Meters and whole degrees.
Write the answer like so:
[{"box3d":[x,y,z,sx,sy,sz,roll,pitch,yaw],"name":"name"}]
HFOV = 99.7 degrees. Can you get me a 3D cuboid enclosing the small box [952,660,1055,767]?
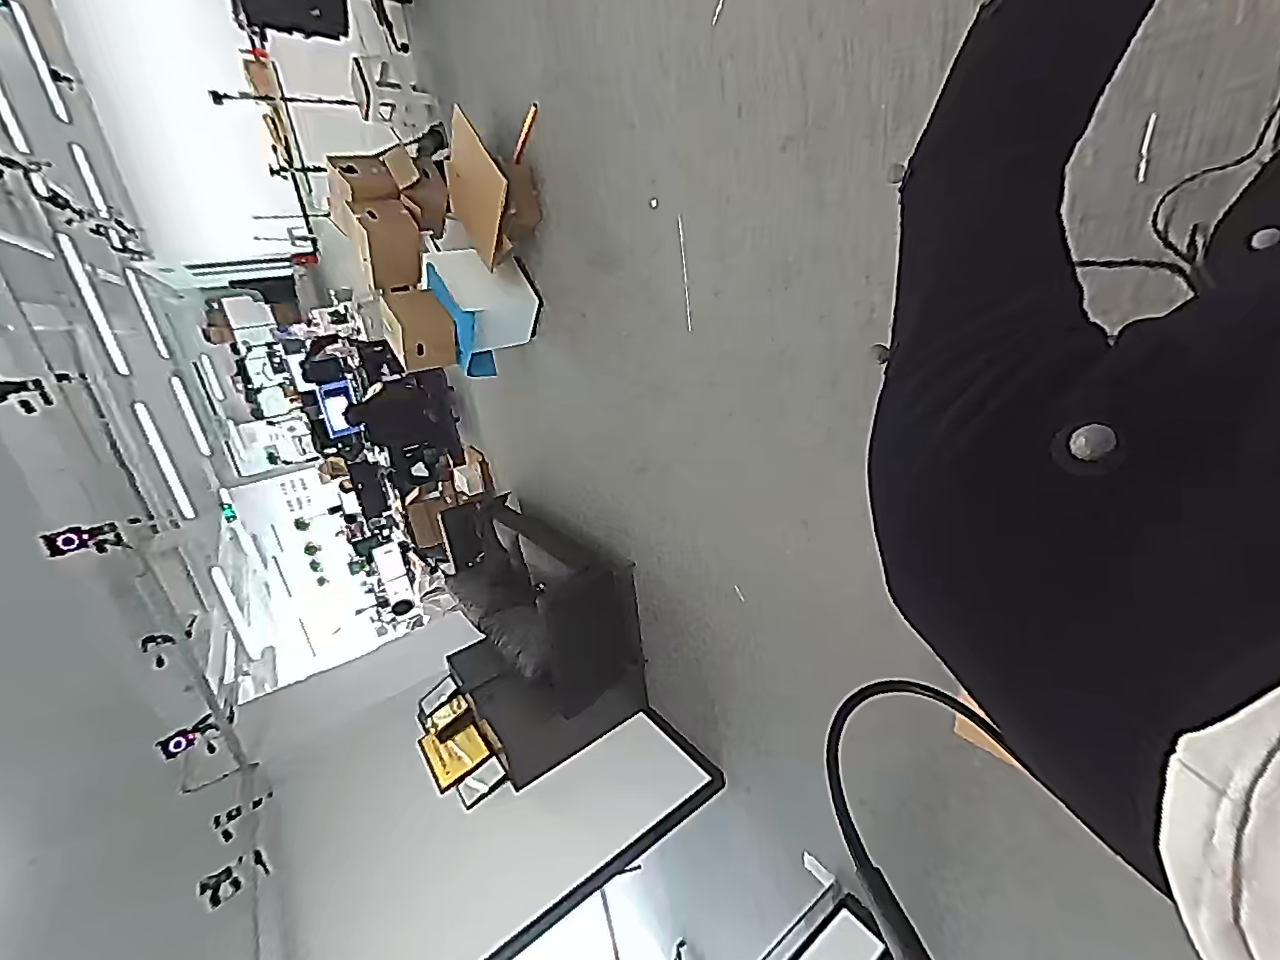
[{"box3d":[0.978,0.616,1.454,0.179,0.176,0.168,22,124,51],"name":"small box"}]
